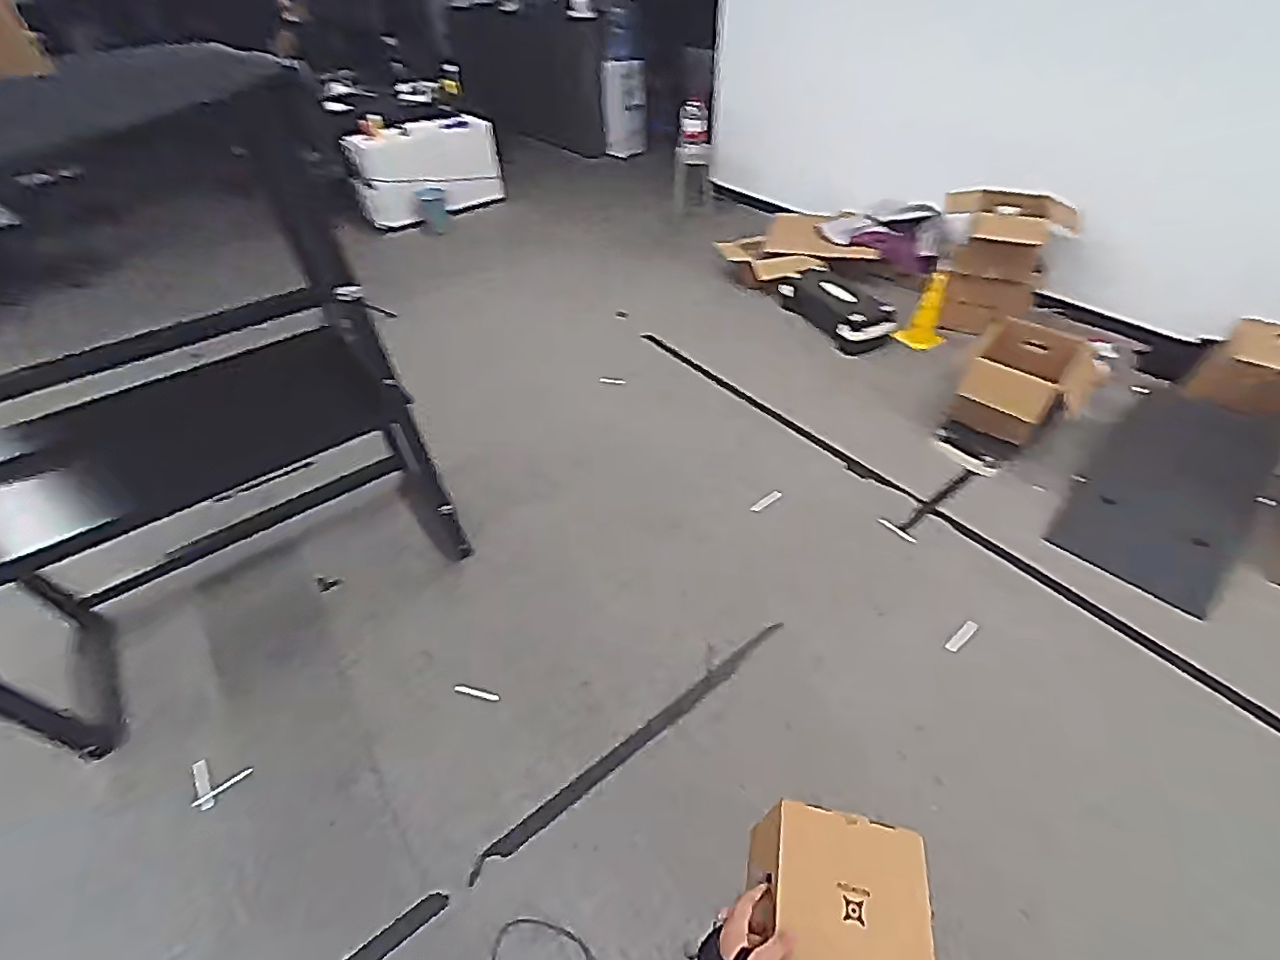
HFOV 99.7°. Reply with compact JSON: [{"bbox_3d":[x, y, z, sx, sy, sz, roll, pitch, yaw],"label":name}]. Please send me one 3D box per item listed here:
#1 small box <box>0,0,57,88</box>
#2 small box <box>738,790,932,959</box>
[{"bbox_3d":[-1.291,-0.859,1.035,0.179,0.176,0.168,-30,52,-24],"label":"small box"},{"bbox_3d":[0.213,0.495,0.625,0.168,0.176,0.179,11,45,6],"label":"small box"}]
